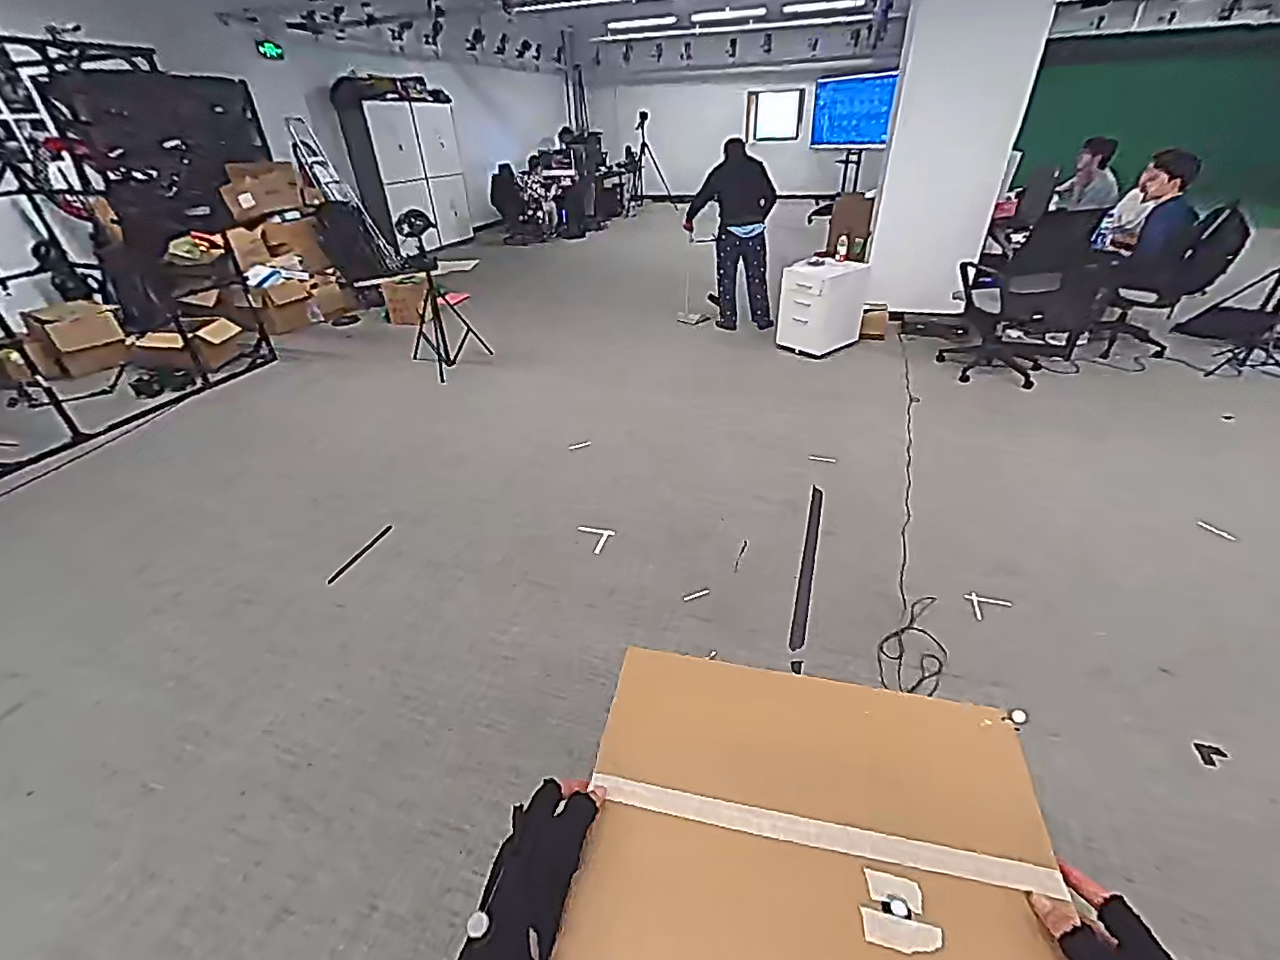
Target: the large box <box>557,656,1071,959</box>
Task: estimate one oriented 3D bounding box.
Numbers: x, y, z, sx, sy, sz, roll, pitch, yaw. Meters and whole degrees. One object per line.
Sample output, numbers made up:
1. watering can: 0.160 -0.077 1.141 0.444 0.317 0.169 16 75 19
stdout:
1. large box: 0.157 0.437 0.588 0.408 0.320 0.320 6 40 11
